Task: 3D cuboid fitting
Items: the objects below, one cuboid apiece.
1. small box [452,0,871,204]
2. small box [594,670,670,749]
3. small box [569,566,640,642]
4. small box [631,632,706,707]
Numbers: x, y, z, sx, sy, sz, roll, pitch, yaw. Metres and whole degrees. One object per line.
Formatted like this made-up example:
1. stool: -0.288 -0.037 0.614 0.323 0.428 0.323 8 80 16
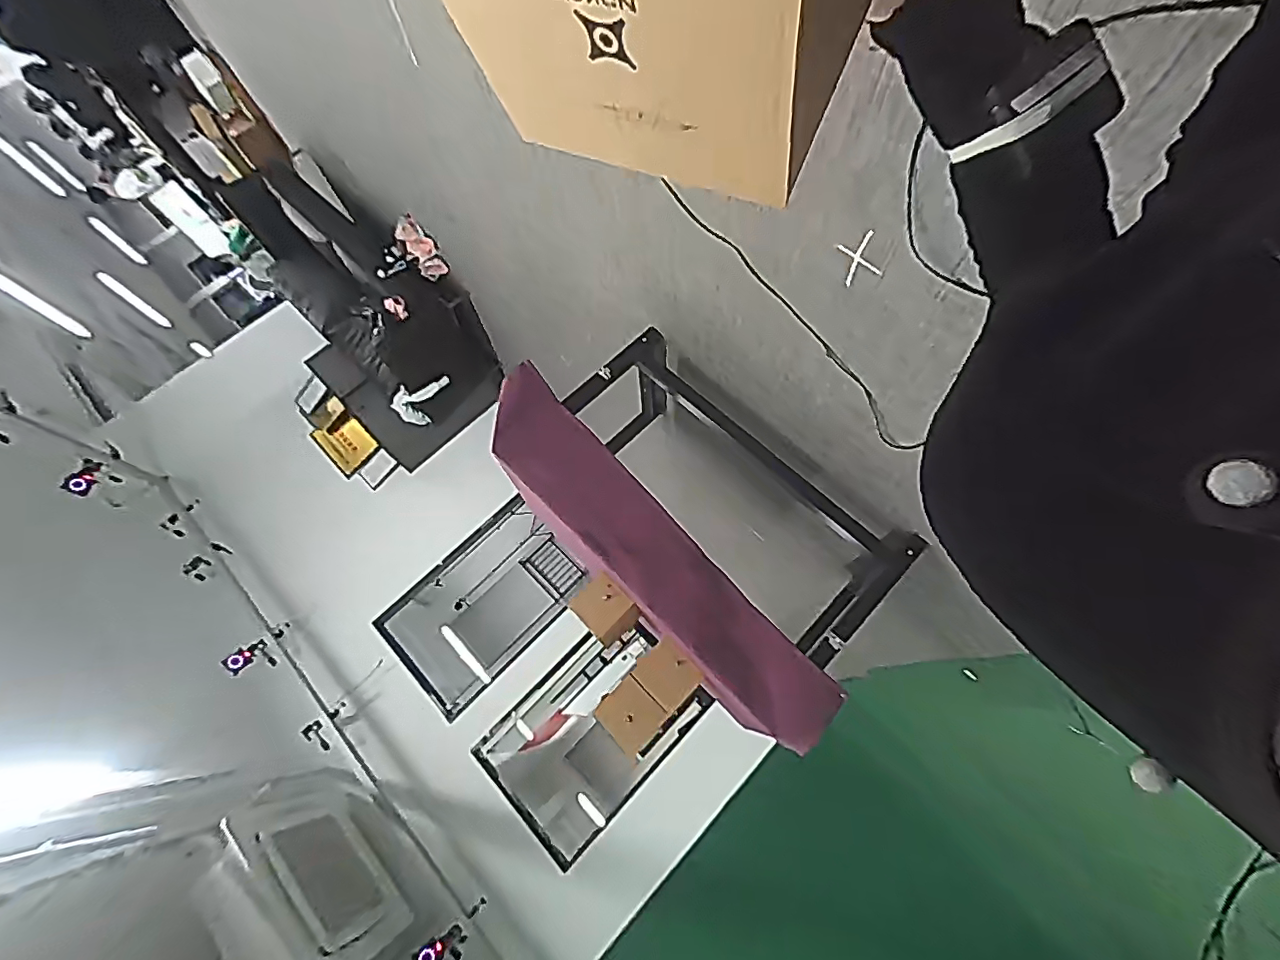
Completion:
1. small box: 0.022 -0.263 0.230 0.168 0.176 0.179 23 180 13
2. small box: -0.023 0.728 1.737 0.179 0.176 0.168 41 165 19
3. small box: -0.116 0.429 1.872 0.168 0.176 0.179 40 164 24
4. small box: 0.094 0.619 1.775 0.179 0.176 0.168 42 166 19
